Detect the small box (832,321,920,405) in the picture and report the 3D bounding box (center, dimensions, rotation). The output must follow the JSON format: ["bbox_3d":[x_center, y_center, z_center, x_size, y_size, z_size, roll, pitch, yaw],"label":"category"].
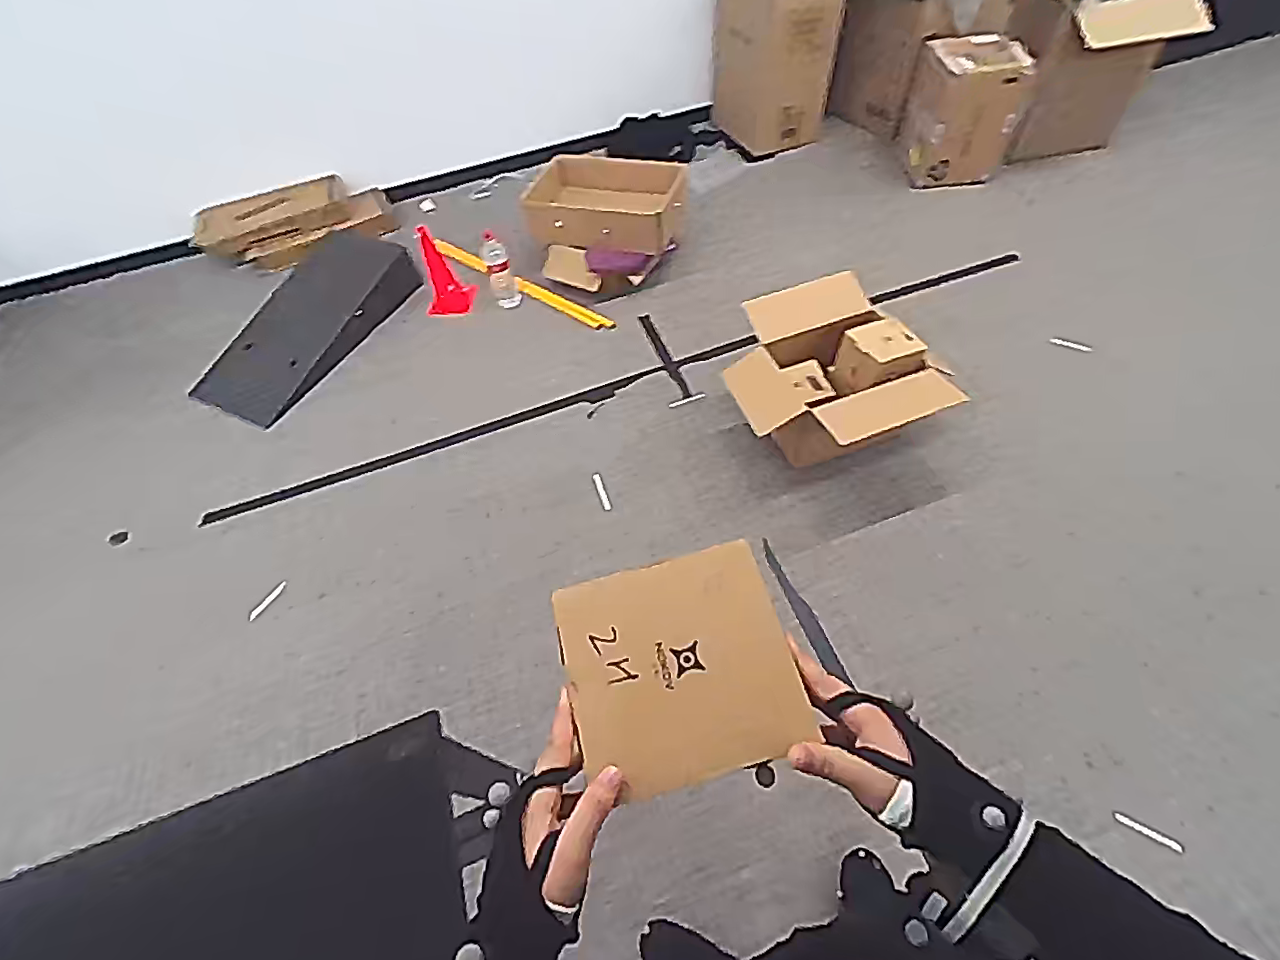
[{"bbox_3d":[0.719,-0.359,1.674,0.179,0.176,0.168,-19,54,-11],"label":"small box"}]

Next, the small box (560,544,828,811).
[{"bbox_3d":[0.040,0.179,0.490,0.179,0.176,0.168,-15,62,-2],"label":"small box"}]
